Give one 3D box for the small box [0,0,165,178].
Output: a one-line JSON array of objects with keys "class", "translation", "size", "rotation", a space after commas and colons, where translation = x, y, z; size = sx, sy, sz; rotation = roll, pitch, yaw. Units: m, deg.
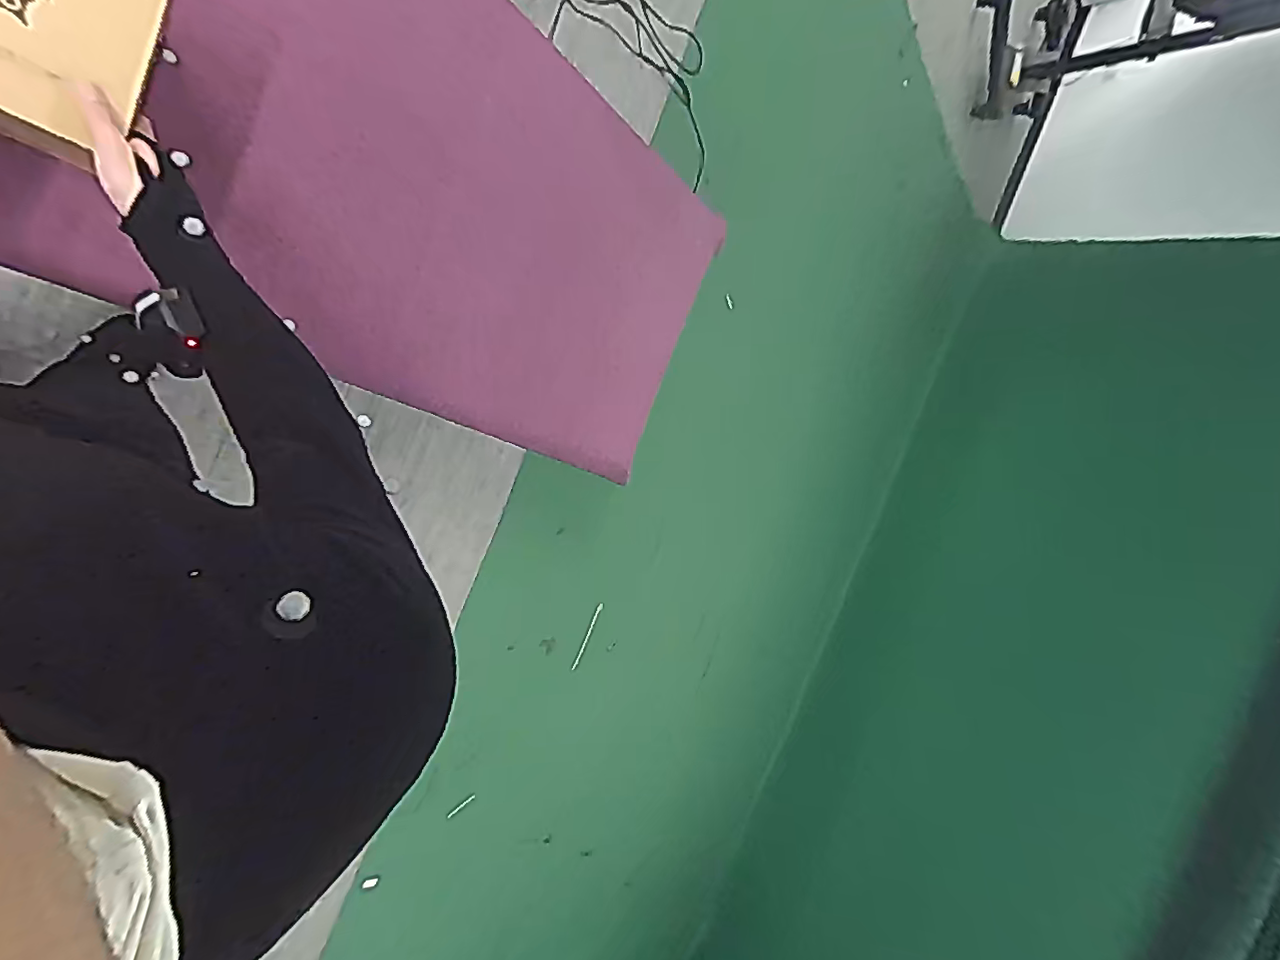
[{"class": "small box", "translation": [-0.556, -0.402, 0.478], "size": [0.168, 0.176, 0.179], "rotation": [17, 93, -46]}]
